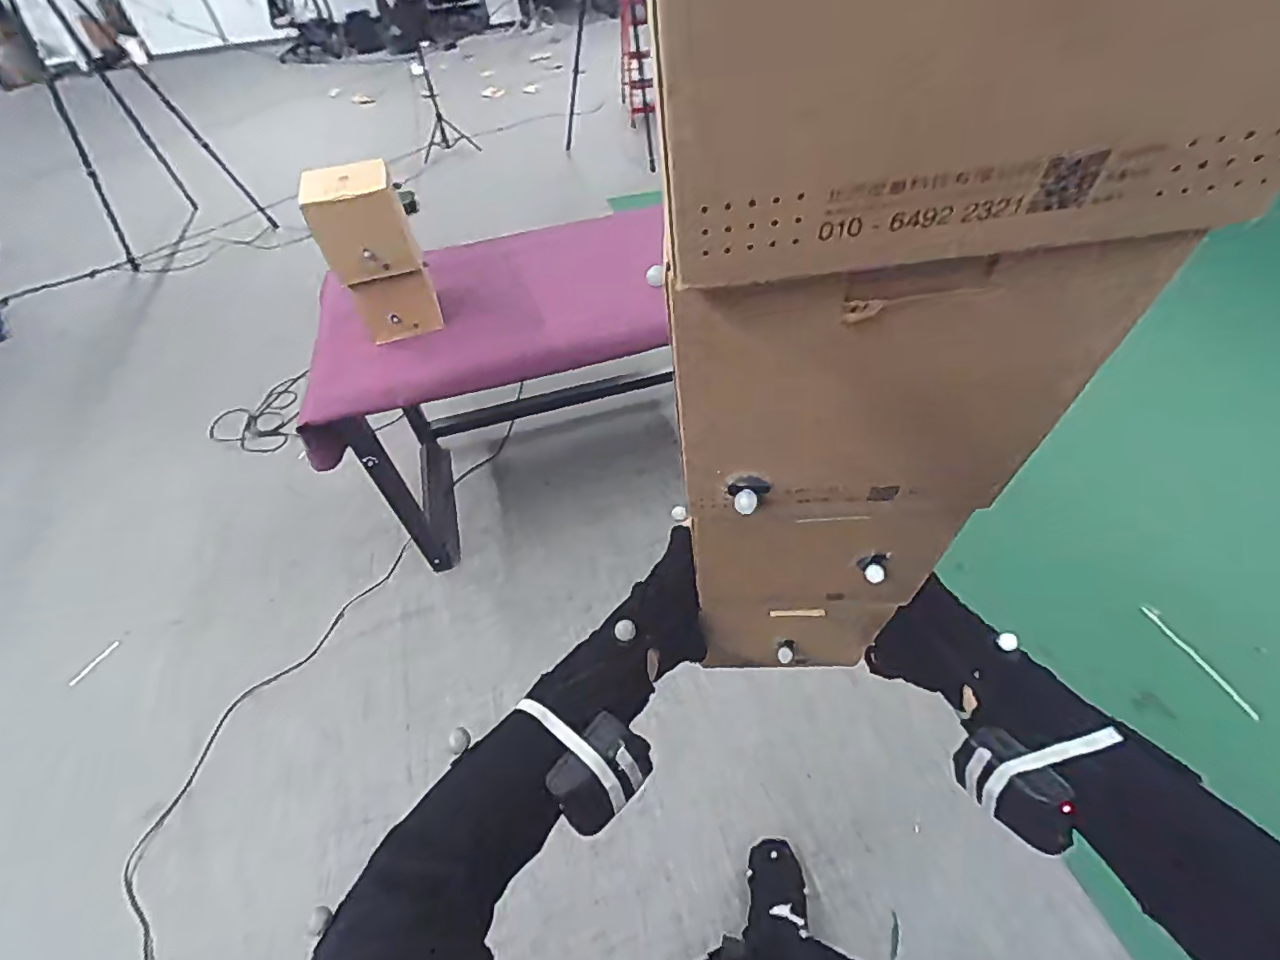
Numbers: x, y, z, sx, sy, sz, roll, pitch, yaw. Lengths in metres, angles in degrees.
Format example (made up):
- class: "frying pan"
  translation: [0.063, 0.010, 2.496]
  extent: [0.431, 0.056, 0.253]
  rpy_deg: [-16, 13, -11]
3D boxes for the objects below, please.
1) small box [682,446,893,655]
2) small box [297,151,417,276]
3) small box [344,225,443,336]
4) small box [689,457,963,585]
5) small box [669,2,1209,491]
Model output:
- class: "small box"
  translation: [0.136, 0.073, 0.559]
  extent: [0.168, 0.176, 0.179]
  rpy_deg: [-6, 55, 5]
- class: "small box"
  translation: [-0.581, -0.554, 1.127]
  extent: [0.168, 0.176, 0.179]
  rpy_deg: [-17, 52, -9]
- class: "small box"
  translation: [-0.578, -0.467, 1.268]
  extent: [0.168, 0.176, 0.179]
  rpy_deg: [-18, 52, -11]
- class: "small box"
  translation: [0.122, -0.028, 0.408]
  extent: [0.168, 0.176, 0.179]
  rpy_deg: [-4, 56, 6]
- class: "small box"
  translation: [0.103, -0.104, 0.283]
  extent: [0.168, 0.176, 0.179]
  rpy_deg: [-3, 56, 6]
